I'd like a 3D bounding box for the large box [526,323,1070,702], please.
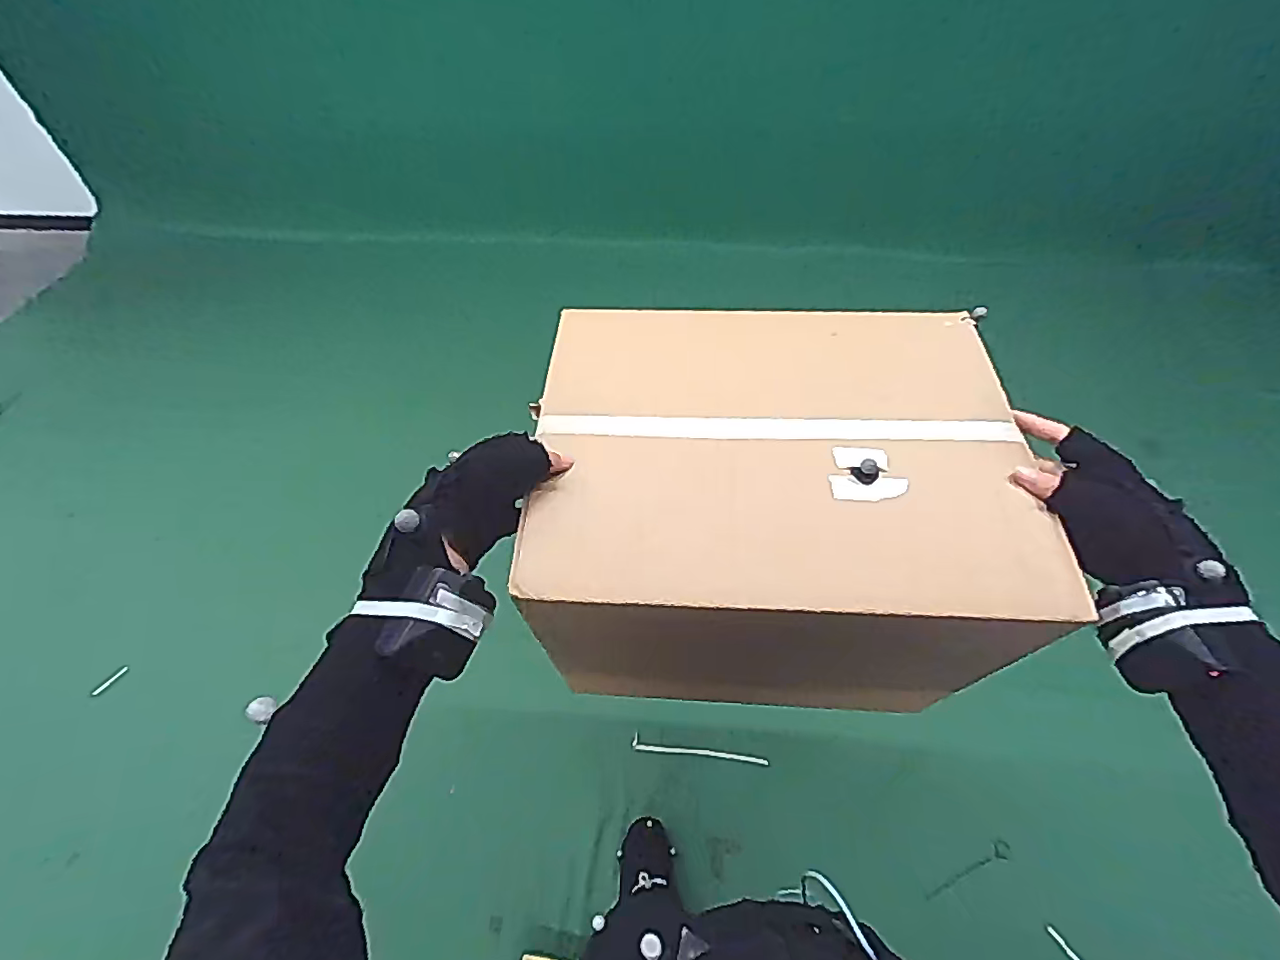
[{"bbox_3d":[0.118,0.047,0.598,0.408,0.320,0.320,2,56,2],"label":"large box"}]
